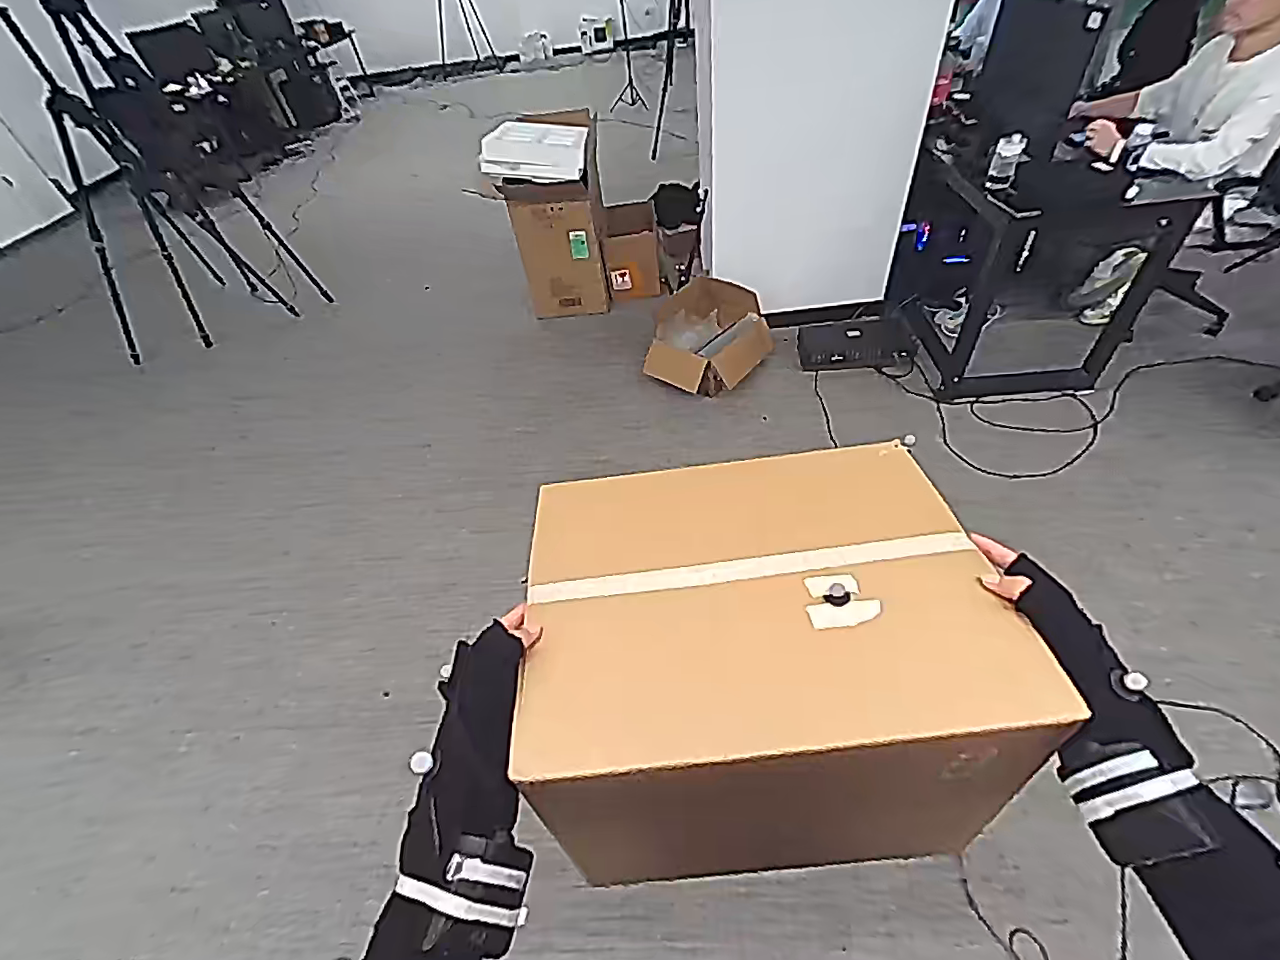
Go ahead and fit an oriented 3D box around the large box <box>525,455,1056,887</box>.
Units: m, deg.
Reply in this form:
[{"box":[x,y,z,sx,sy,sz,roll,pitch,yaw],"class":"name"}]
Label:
[{"box":[0.115,0.208,0.603,0.408,0.320,0.320,-8,41,2],"class":"large box"}]
